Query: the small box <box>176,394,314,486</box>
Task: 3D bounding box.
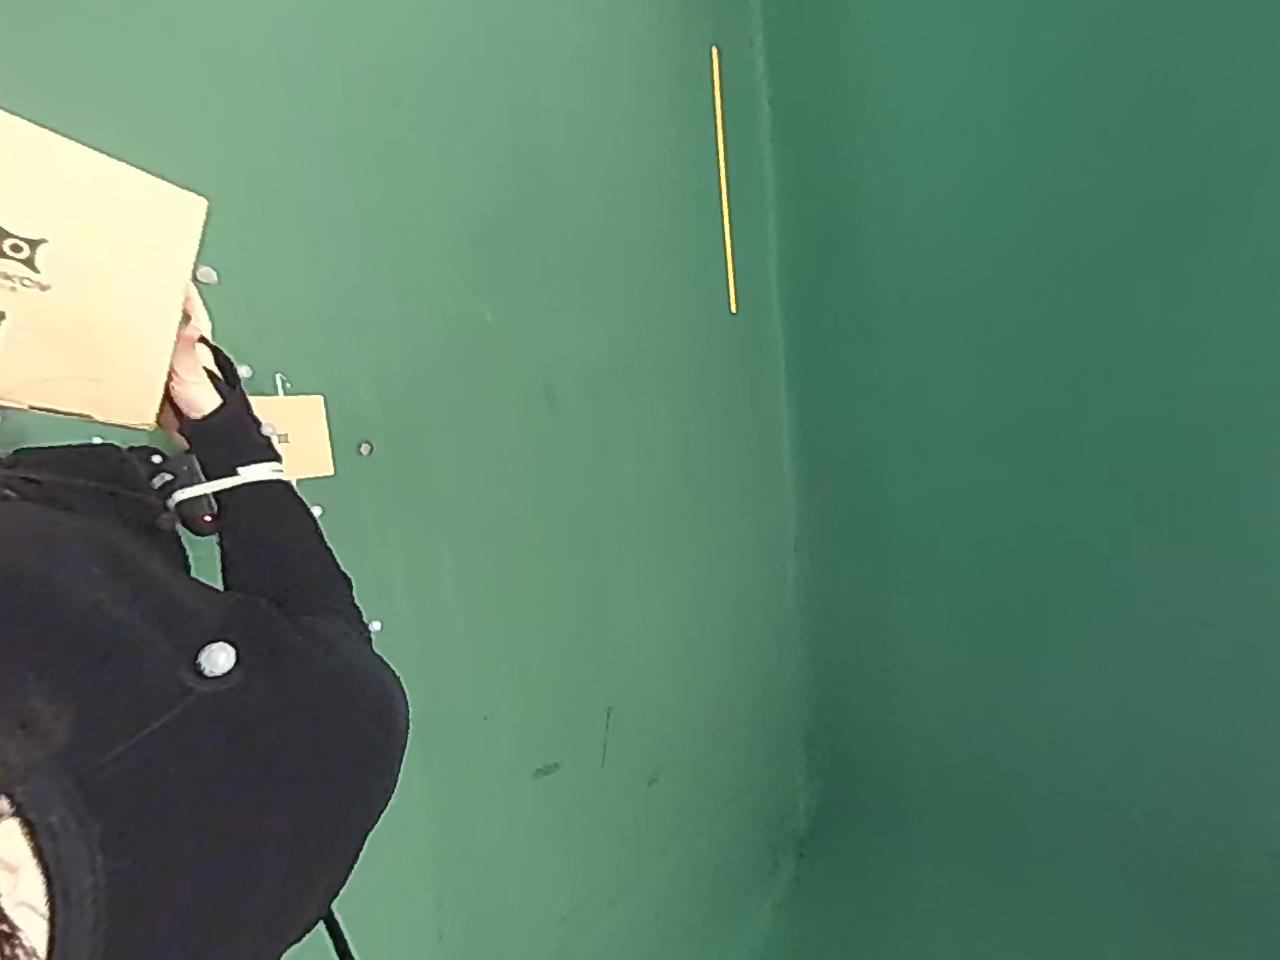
[{"bbox_3d":[-0.781,-0.083,1.071,0.179,0.176,0.168,-12,100,-48],"label":"small box"}]
